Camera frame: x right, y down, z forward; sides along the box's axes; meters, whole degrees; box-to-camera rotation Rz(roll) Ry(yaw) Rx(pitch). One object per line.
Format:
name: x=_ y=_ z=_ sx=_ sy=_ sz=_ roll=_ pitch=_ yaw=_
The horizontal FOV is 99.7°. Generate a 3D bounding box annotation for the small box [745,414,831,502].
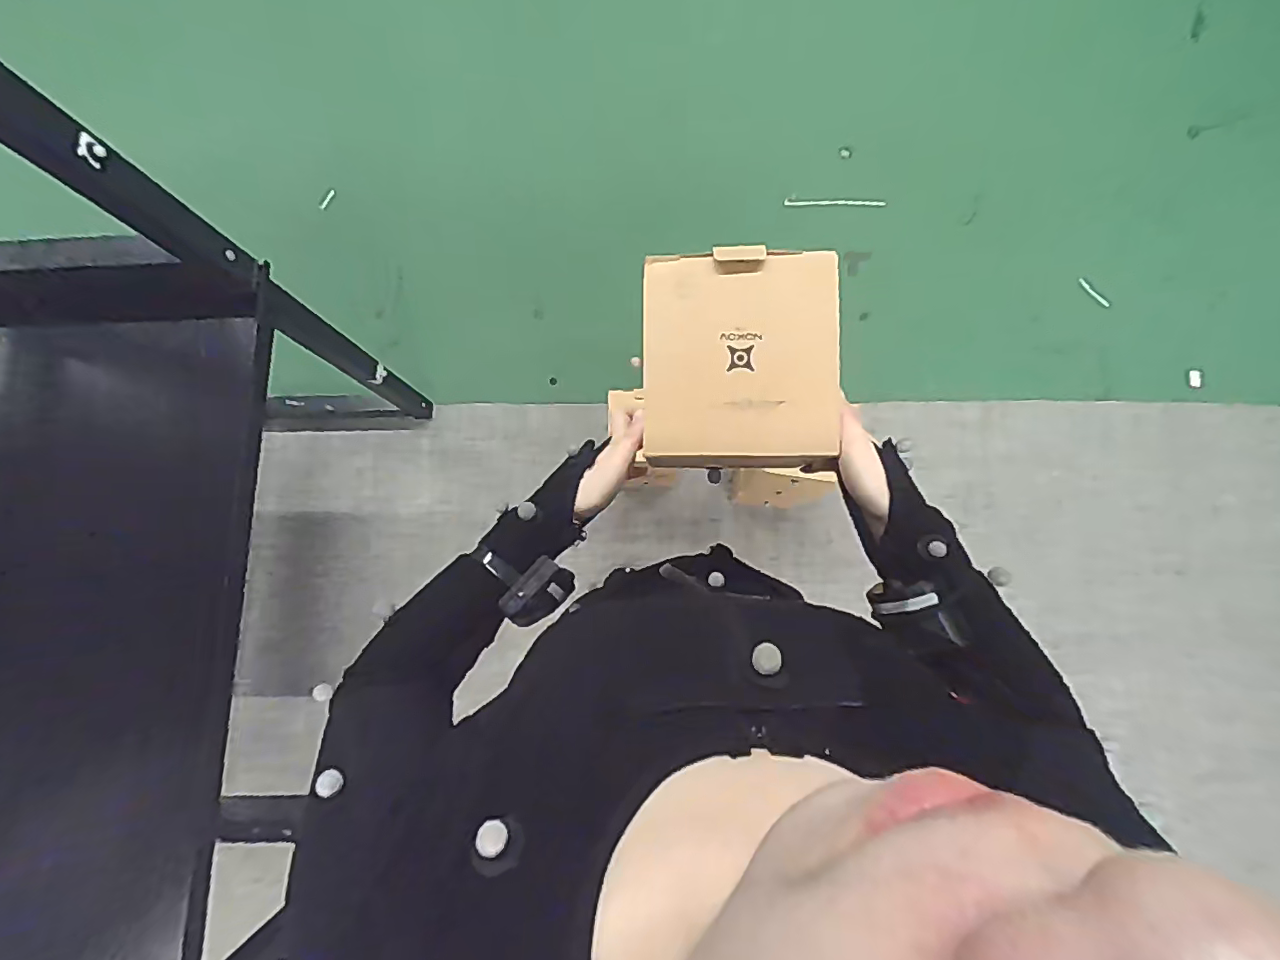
small box: x=0.357 y=-0.048 z=1.294 sx=0.179 sy=0.176 sz=0.168 roll=11 pitch=82 yaw=3

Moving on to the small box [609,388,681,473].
small box: x=0.016 y=-0.114 z=1.317 sx=0.168 sy=0.176 sz=0.179 roll=-1 pitch=79 yaw=2

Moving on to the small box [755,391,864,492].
small box: x=0.345 y=-0.074 z=1.132 sx=0.179 sy=0.176 sz=0.168 roll=9 pitch=82 yaw=3
